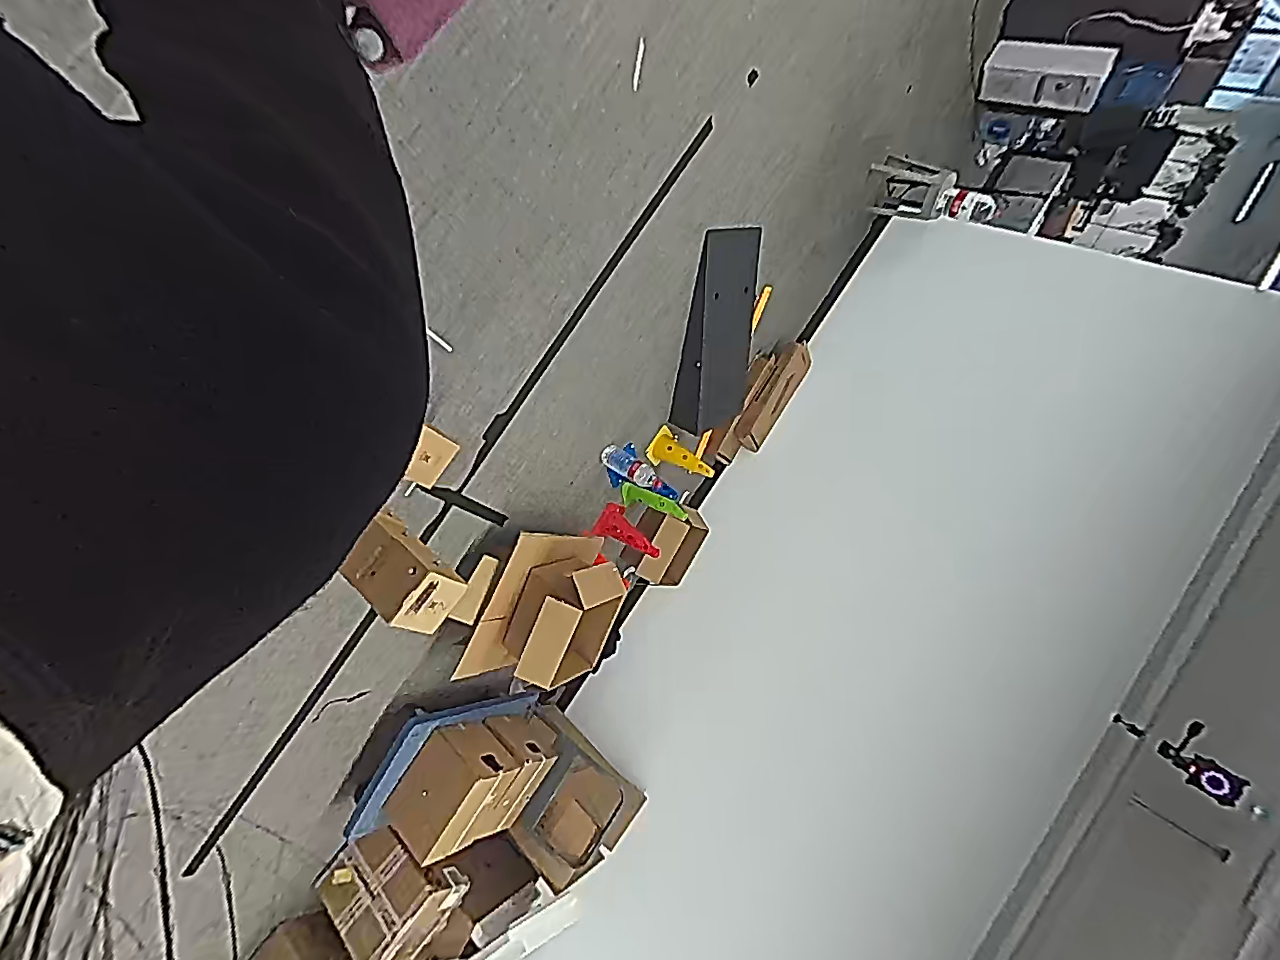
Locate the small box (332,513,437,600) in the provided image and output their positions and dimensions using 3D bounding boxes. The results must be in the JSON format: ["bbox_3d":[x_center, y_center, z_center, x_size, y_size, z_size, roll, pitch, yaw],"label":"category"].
[{"bbox_3d":[-0.732,0.215,1.547,0.168,0.176,0.179,-54,152,-7],"label":"small box"}]

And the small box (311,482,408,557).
[{"bbox_3d":[-0.851,0.138,1.631,0.179,0.176,0.168,-53,151,-8],"label":"small box"}]

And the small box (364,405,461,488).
[{"bbox_3d":[-0.692,-0.106,1.643,0.168,0.176,0.179,-55,153,-3],"label":"small box"}]
